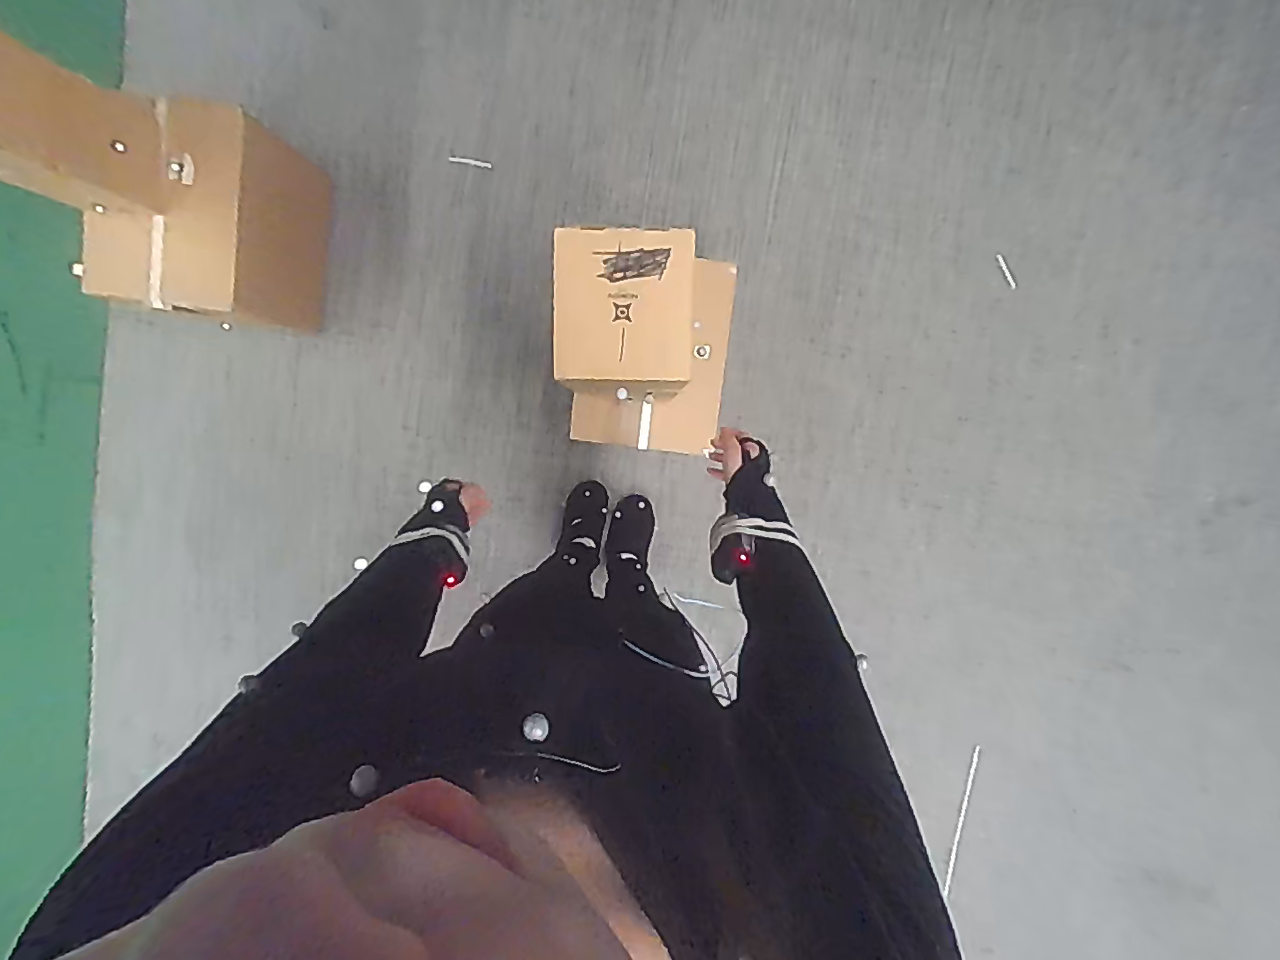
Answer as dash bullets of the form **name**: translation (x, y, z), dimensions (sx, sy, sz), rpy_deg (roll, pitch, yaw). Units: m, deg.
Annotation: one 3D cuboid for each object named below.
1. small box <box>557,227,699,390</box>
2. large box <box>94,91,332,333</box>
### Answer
- **small box**: translation (-0.015, -0.214, 0.715), dimensions (0.168, 0.176, 0.179), rpy_deg (1, 97, 1)
- **large box**: translation (-0.954, -0.578, 1.245), dimensions (0.320, 0.320, 0.408), rpy_deg (7, 95, 0)
